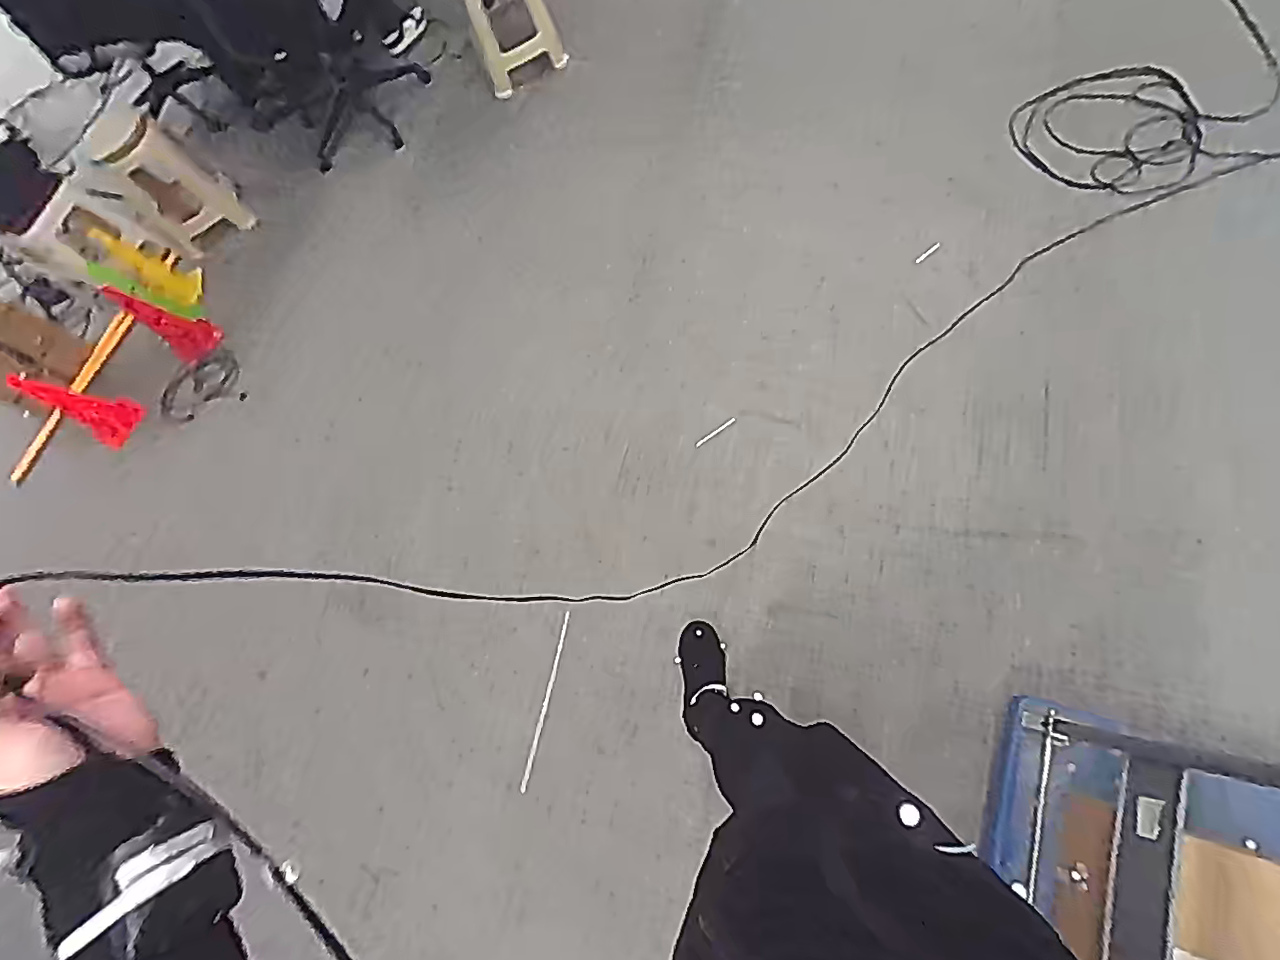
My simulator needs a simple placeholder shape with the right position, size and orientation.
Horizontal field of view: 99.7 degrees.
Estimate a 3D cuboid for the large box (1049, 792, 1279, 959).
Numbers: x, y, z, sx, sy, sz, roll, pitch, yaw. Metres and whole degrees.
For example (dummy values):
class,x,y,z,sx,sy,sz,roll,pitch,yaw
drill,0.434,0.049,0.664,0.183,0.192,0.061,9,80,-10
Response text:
class,x,y,z,sx,sy,sz,roll,pitch,yaw
large box,0.939,0.740,0.836,0.408,0.320,0.320,13,75,17
